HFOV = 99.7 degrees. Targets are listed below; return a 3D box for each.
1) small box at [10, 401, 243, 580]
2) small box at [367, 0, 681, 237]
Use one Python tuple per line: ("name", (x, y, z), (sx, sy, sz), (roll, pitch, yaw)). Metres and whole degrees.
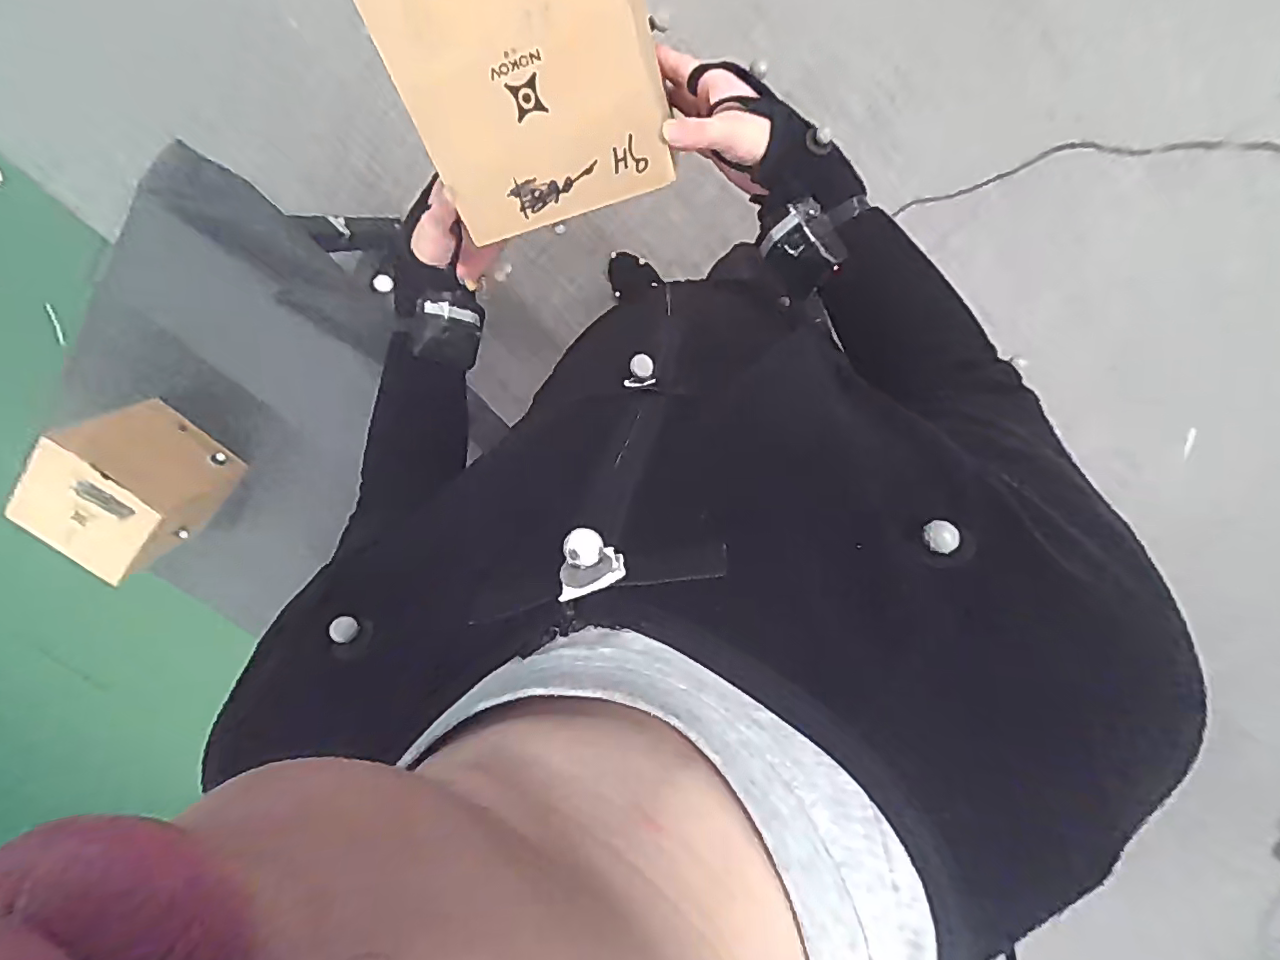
("small box", (-0.752, 0.008, 0.814), (0.168, 0.176, 0.179), (43, 112, -15))
("small box", (-0.068, -0.317, 0.408), (0.168, 0.176, 0.179), (-10, 131, 14))
